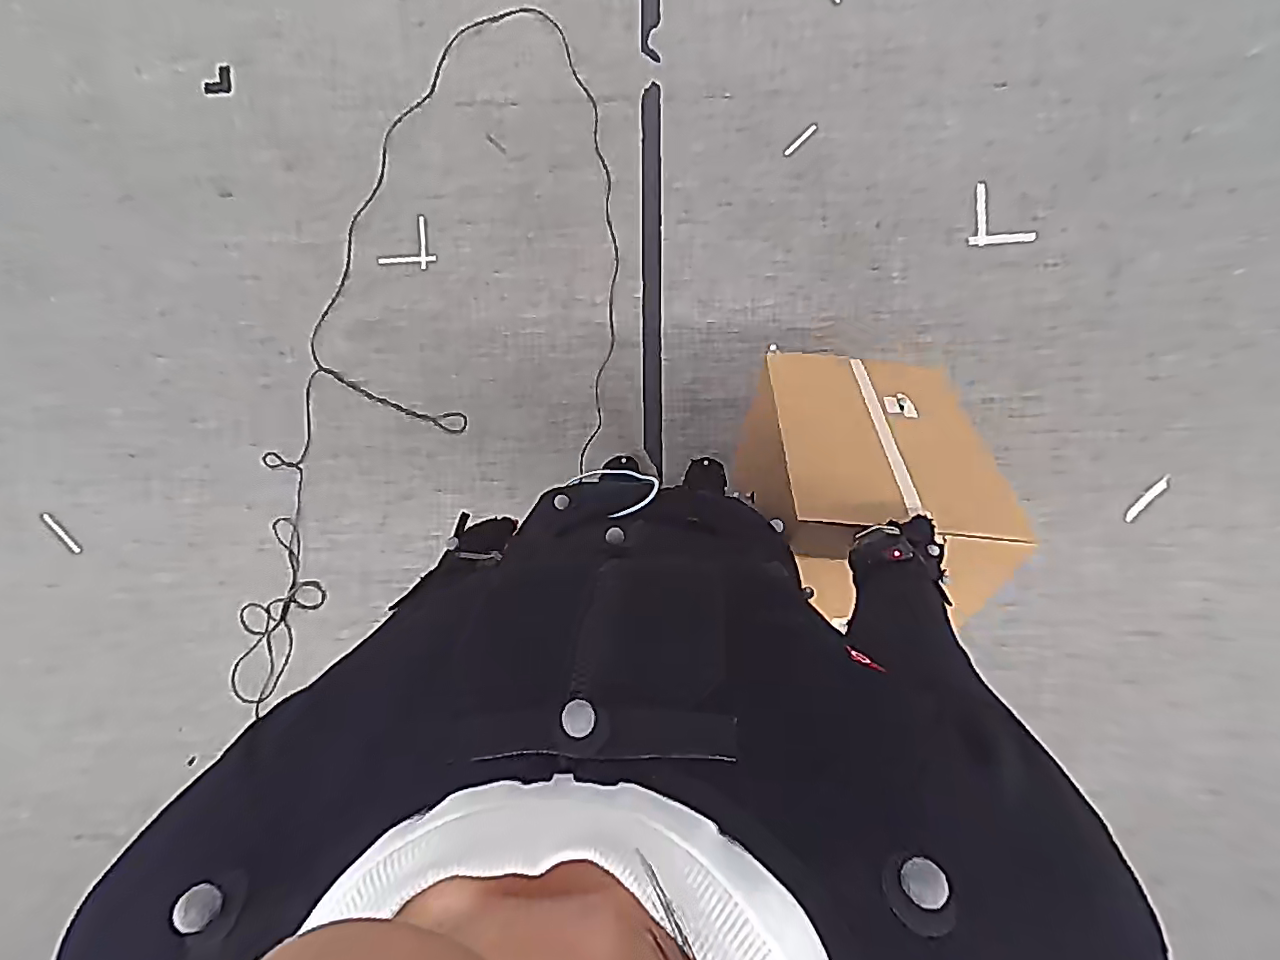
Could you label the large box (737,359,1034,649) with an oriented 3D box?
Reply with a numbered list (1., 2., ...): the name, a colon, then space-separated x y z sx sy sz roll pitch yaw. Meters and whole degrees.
1. large box: 0.362 0.036 0.944 0.320 0.408 0.320 6 133 -1
